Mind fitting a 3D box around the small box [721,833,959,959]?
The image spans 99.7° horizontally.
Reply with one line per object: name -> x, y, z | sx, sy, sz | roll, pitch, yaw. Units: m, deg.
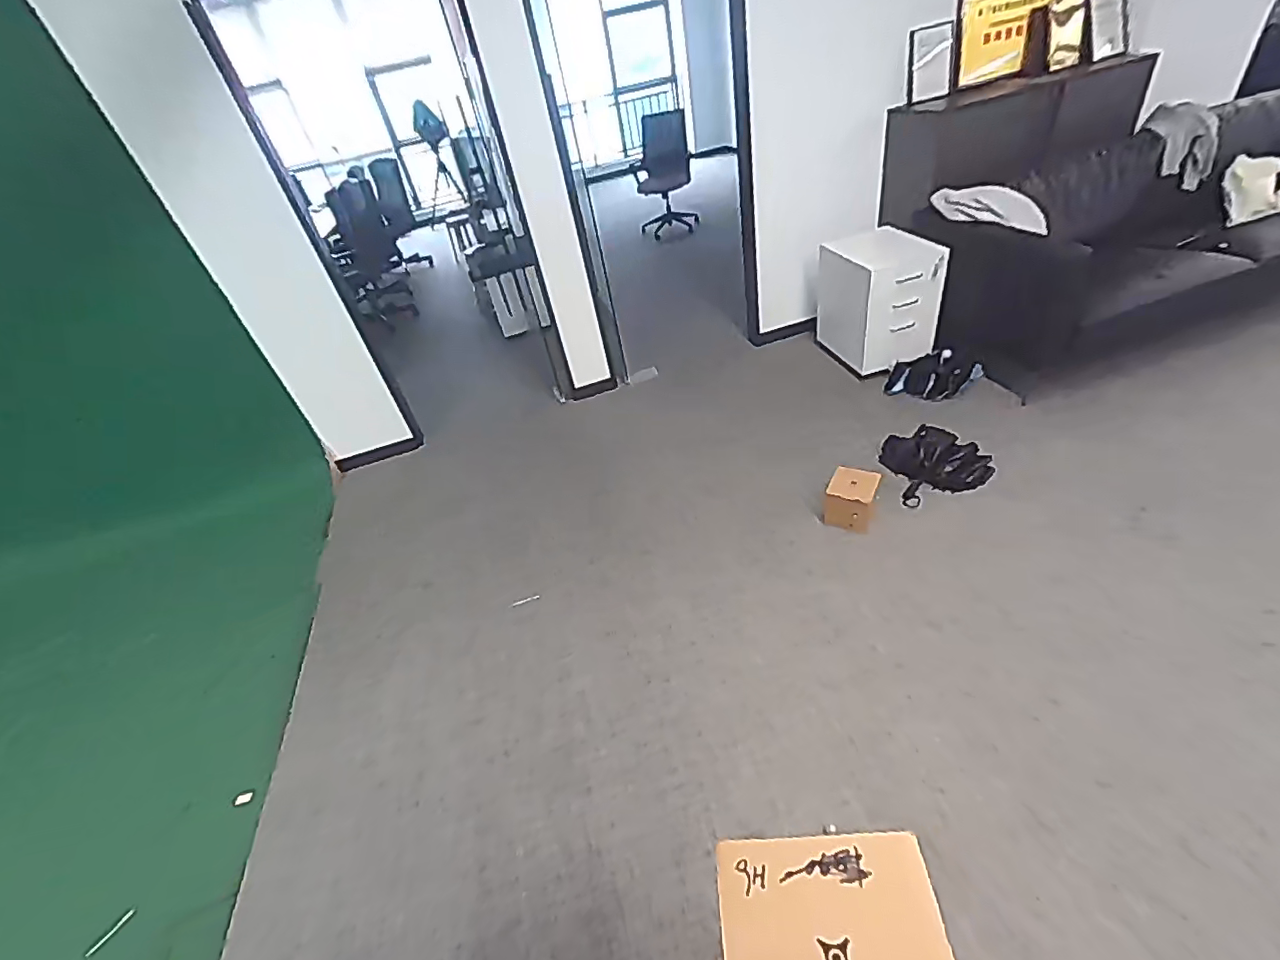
small box -> 0.163, 0.413, 0.441 | 0.168, 0.176, 0.179 | -8, 42, 9
